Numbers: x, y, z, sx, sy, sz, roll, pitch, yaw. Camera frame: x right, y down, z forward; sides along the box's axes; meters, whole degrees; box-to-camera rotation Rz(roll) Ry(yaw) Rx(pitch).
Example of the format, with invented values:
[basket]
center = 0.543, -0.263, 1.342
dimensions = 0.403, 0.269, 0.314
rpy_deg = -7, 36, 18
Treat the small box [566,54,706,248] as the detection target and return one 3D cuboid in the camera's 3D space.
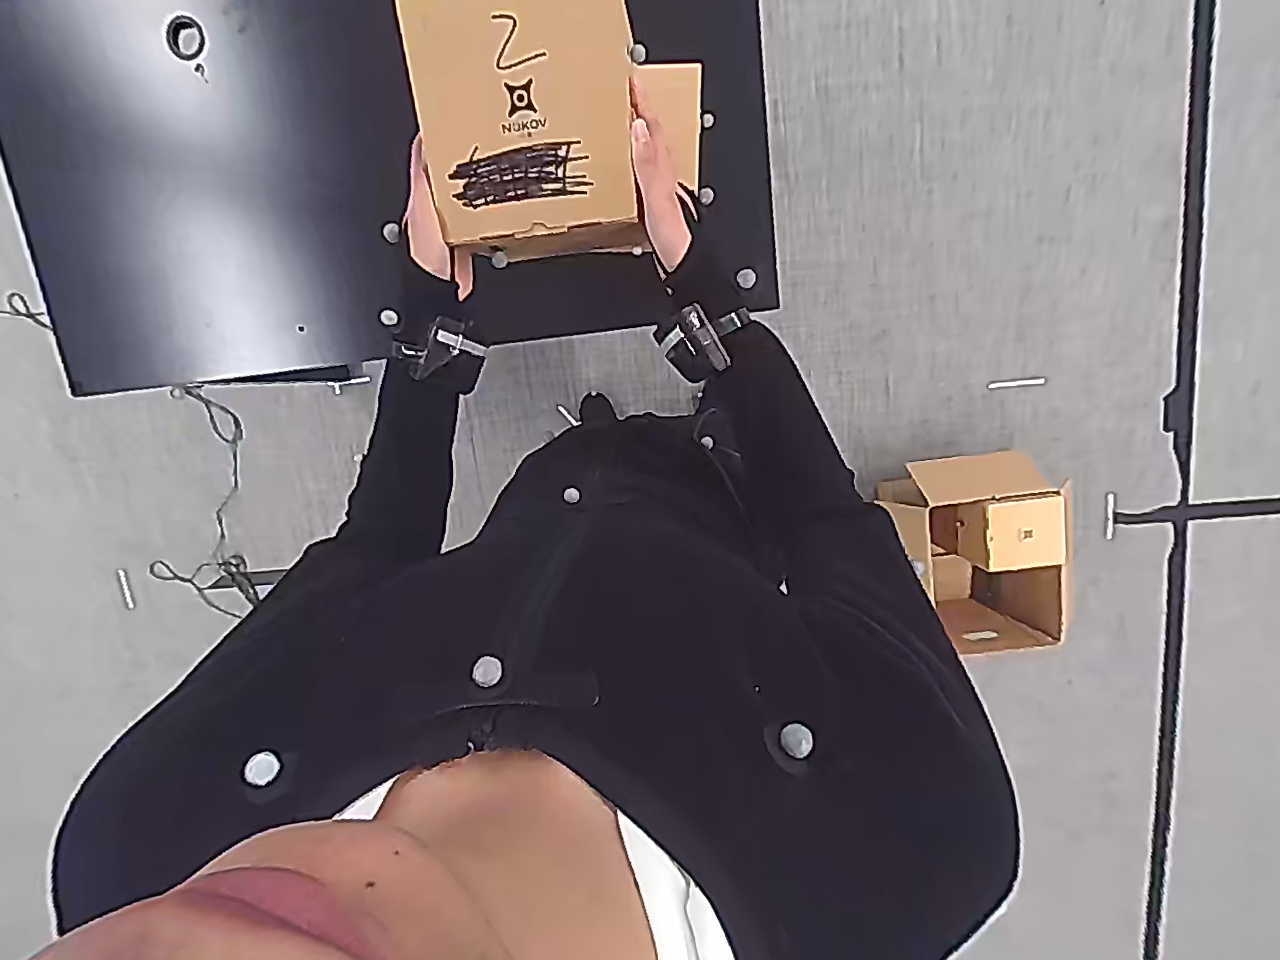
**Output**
[small box]
center = -0.002, -0.426, 0.725
dimensions = 0.168, 0.176, 0.179
rpy_deg = 2, 101, 4
